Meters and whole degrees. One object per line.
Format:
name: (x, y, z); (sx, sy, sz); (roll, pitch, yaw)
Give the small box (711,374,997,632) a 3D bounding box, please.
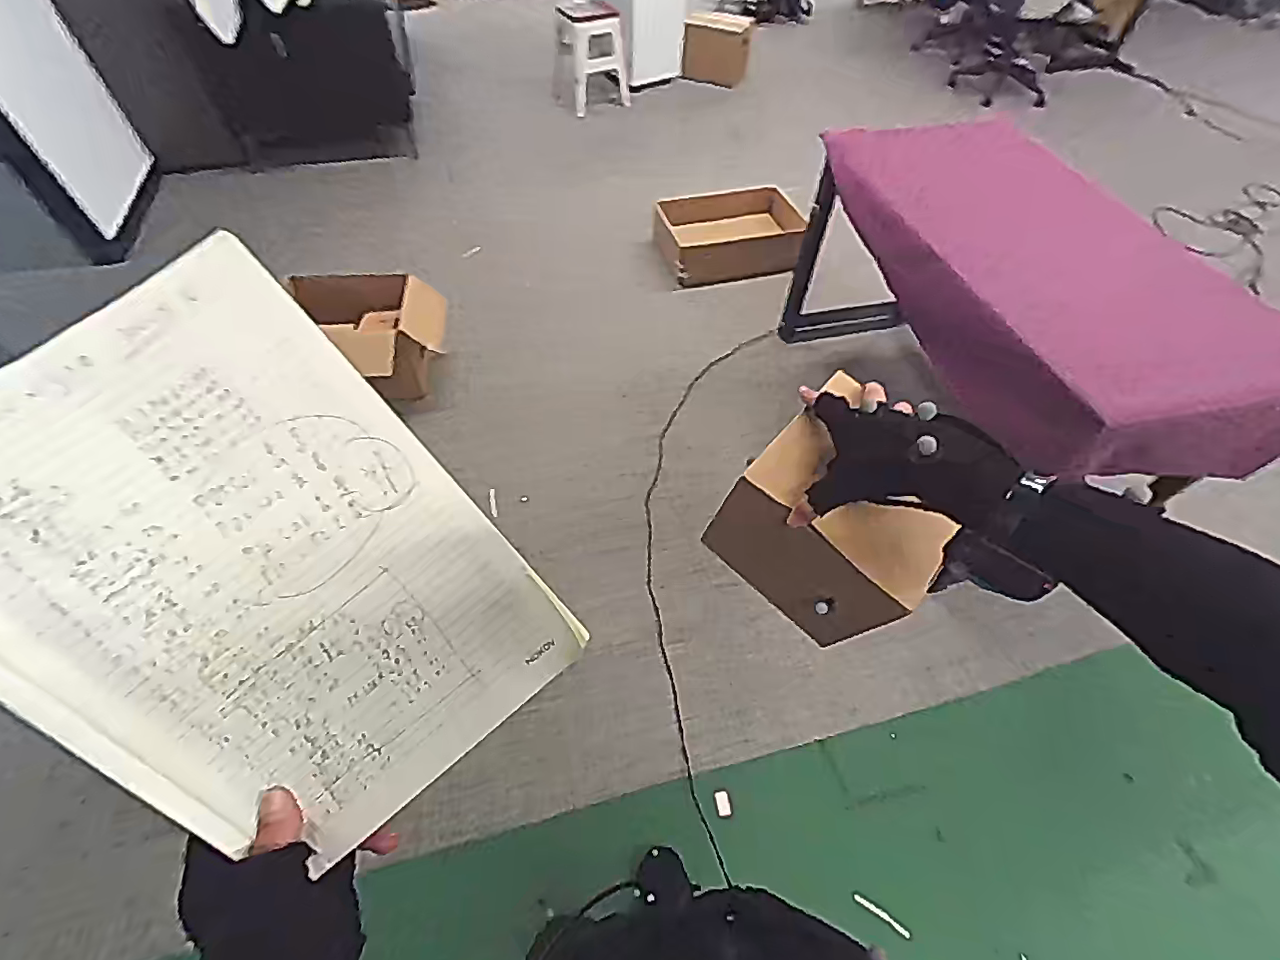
small box: (0.200, 0.034, 0.551); (0.179, 0.176, 0.168); (42, 66, 13)
